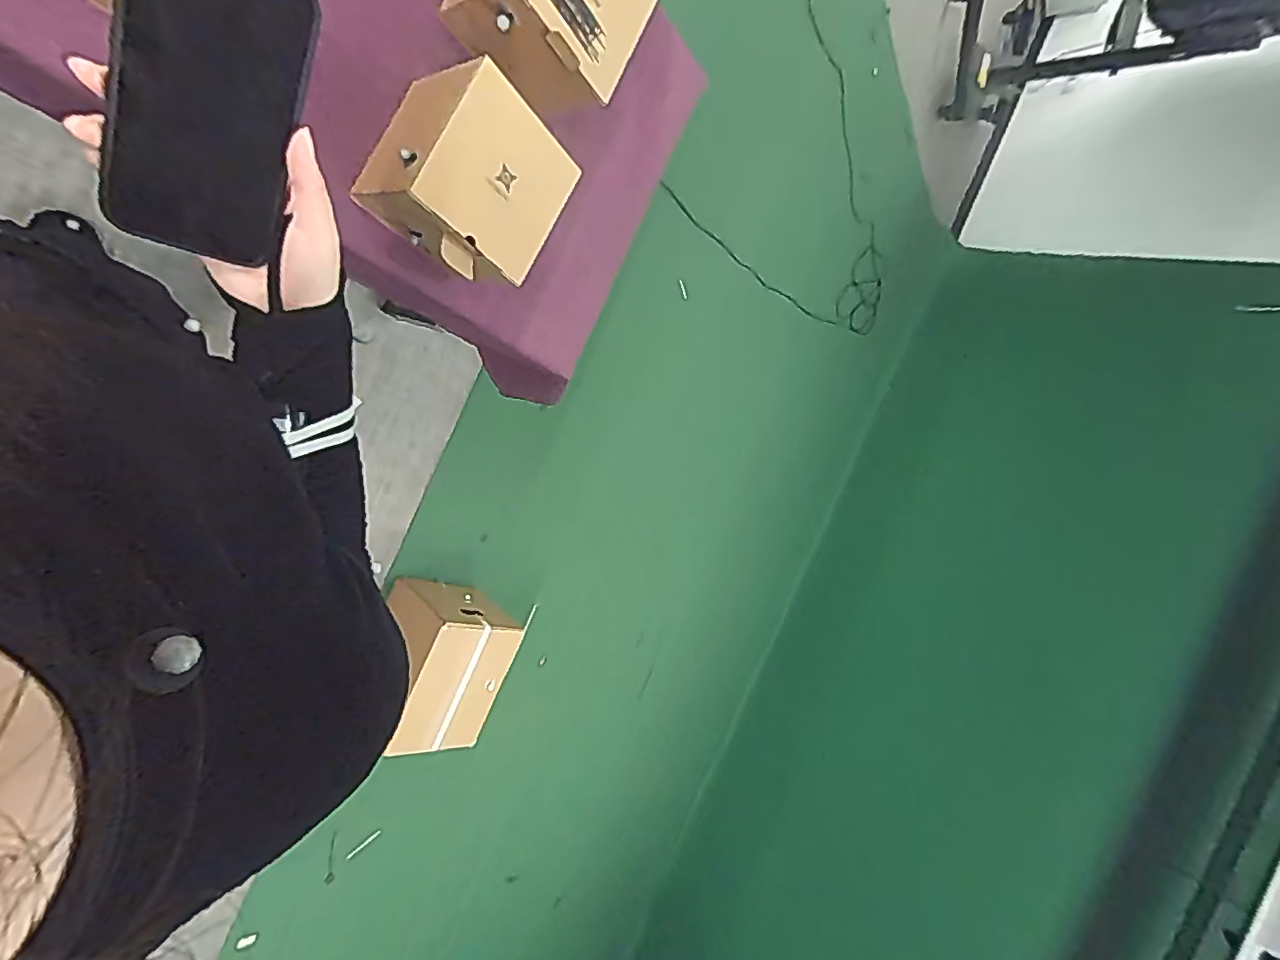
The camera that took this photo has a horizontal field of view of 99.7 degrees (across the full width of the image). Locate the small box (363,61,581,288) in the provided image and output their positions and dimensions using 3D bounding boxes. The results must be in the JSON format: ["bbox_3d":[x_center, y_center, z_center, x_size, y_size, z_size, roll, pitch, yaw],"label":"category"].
[{"bbox_3d":[-0.213,-0.371,0.680,0.168,0.176,0.179,31,85,-50],"label":"small box"}]
